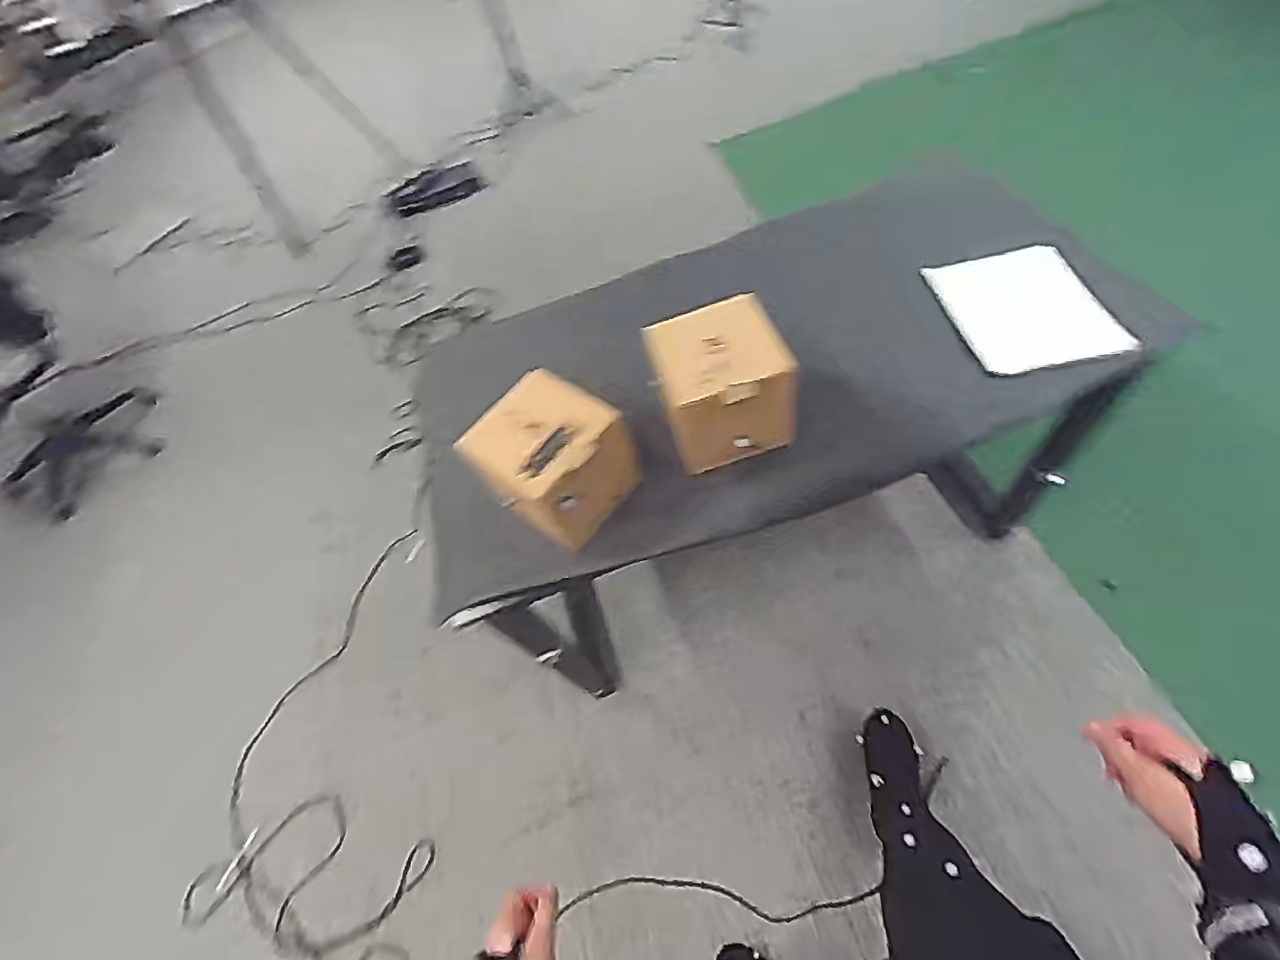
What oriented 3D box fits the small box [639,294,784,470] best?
[{"bbox_3d":[0.110,-0.146,0.835,0.168,0.176,0.179,-20,55,2],"label":"small box"}]
